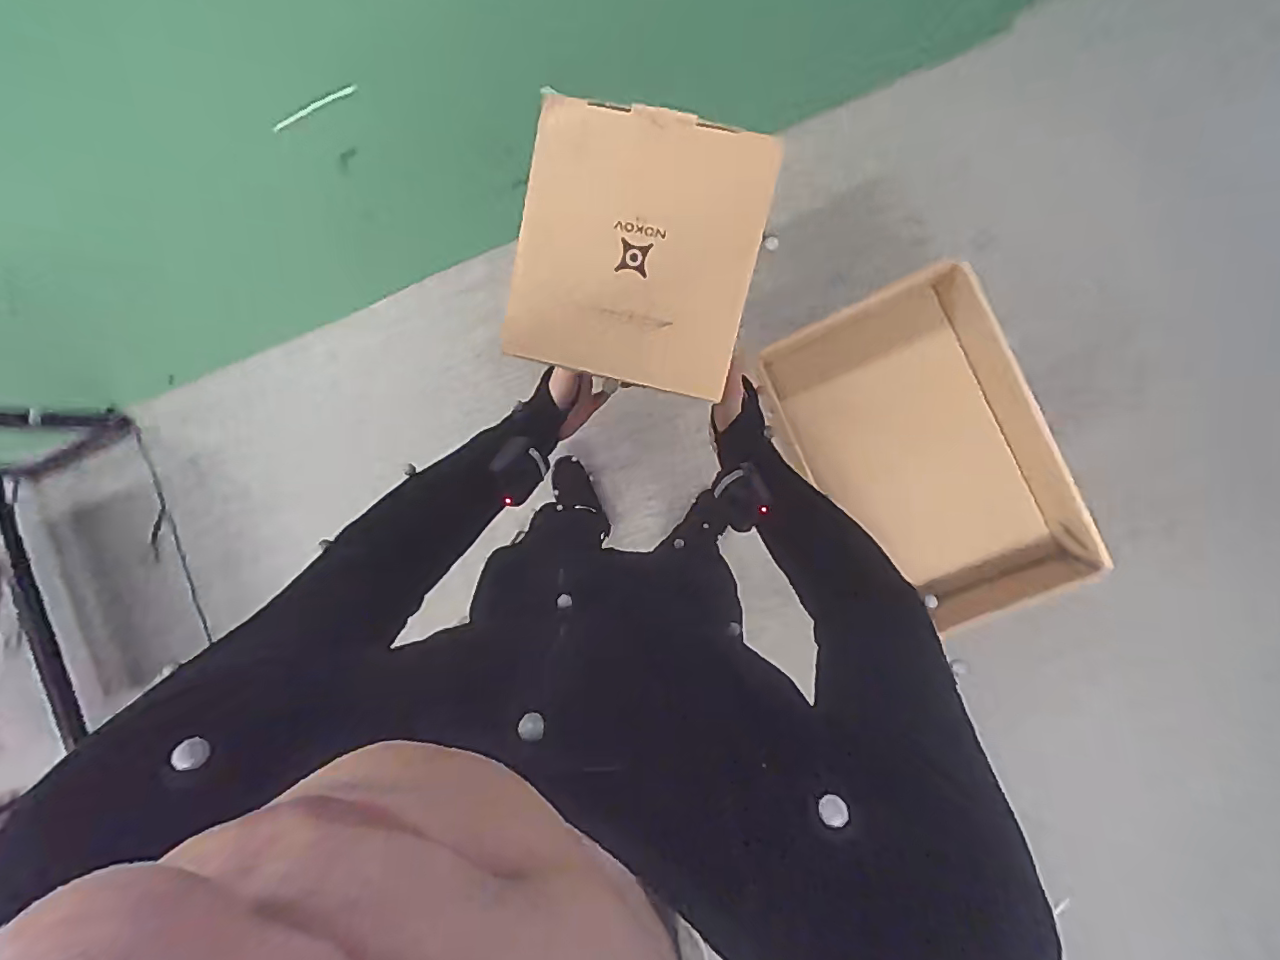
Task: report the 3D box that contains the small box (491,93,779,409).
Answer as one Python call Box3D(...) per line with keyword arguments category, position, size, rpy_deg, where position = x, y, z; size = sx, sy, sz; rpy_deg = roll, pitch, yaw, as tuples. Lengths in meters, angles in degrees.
Box3D(category="small box", position=(-0.001, -0.163, 0.438), size=(0.168, 0.176, 0.179), rpy_deg=(13, 101, 4))
